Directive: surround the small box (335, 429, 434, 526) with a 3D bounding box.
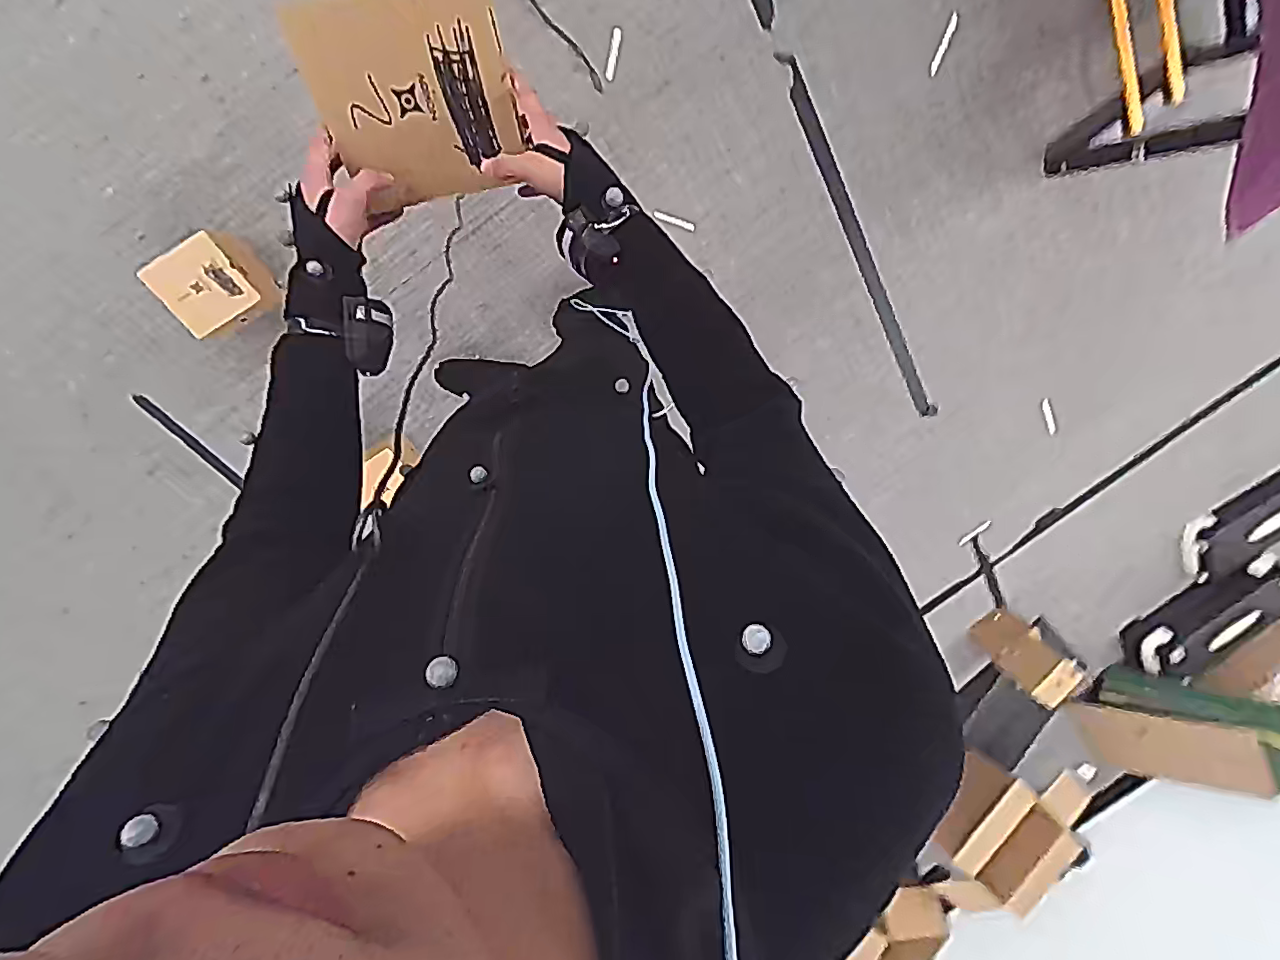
[{"bbox_3d":[-0.686,-0.014,1.481,0.179,0.176,0.168,-34,115,3],"label":"small box"}]

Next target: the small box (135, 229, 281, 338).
[{"bbox_3d":[-0.967,-0.451,1.237,0.179,0.176,0.168,-32,114,2],"label":"small box"}]
